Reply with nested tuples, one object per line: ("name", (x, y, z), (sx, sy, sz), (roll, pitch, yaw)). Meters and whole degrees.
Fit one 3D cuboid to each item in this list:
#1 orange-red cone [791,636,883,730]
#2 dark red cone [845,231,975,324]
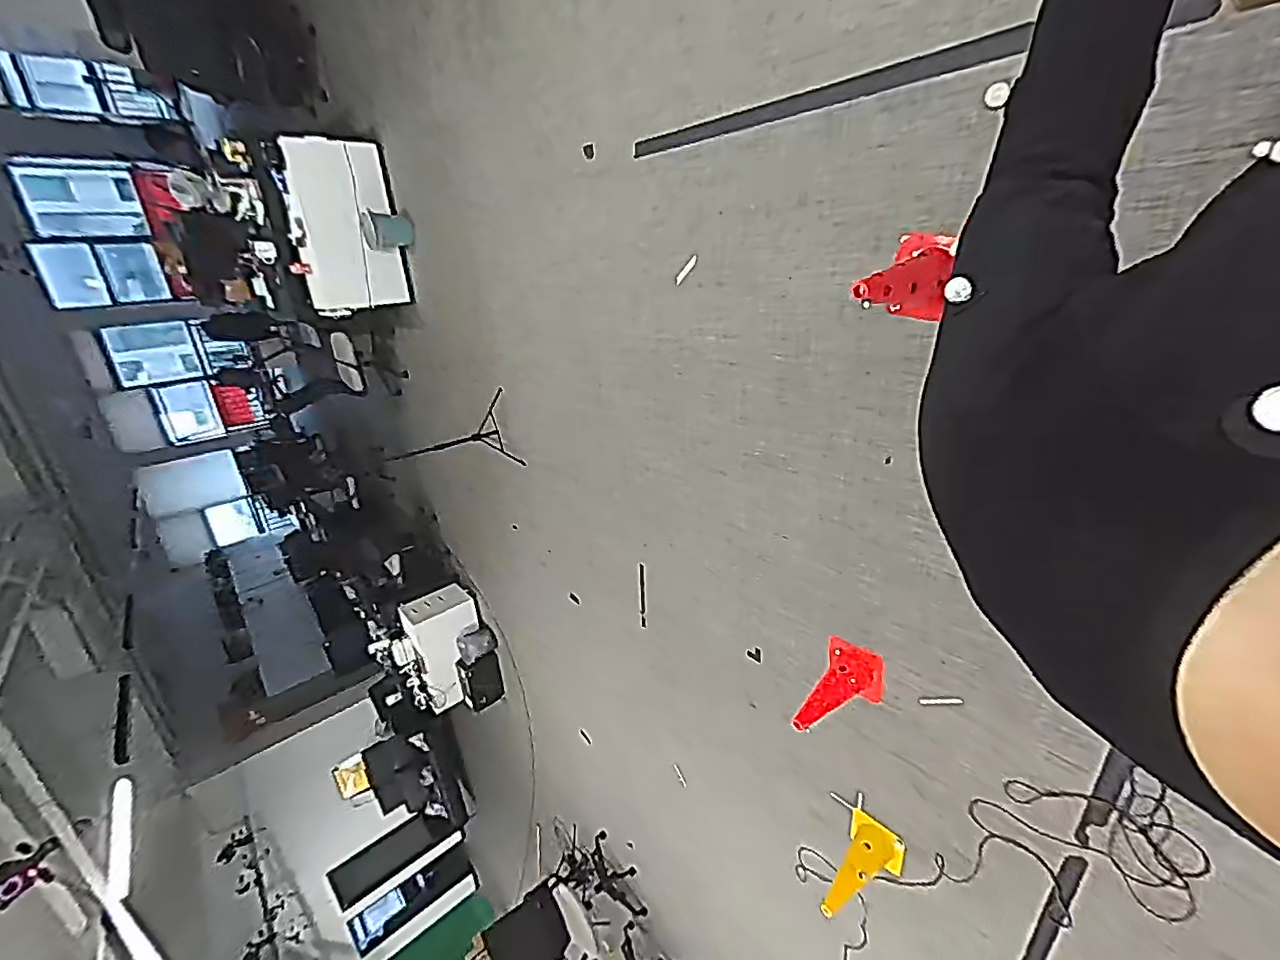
("orange-red cone", (0.624, 0.717, 1.802), (0.198, 0.360, 0.199), (19, 123, 47))
("dark red cone", (0.581, -0.452, 1.234), (0.201, 0.394, 0.202), (27, 127, 41))
